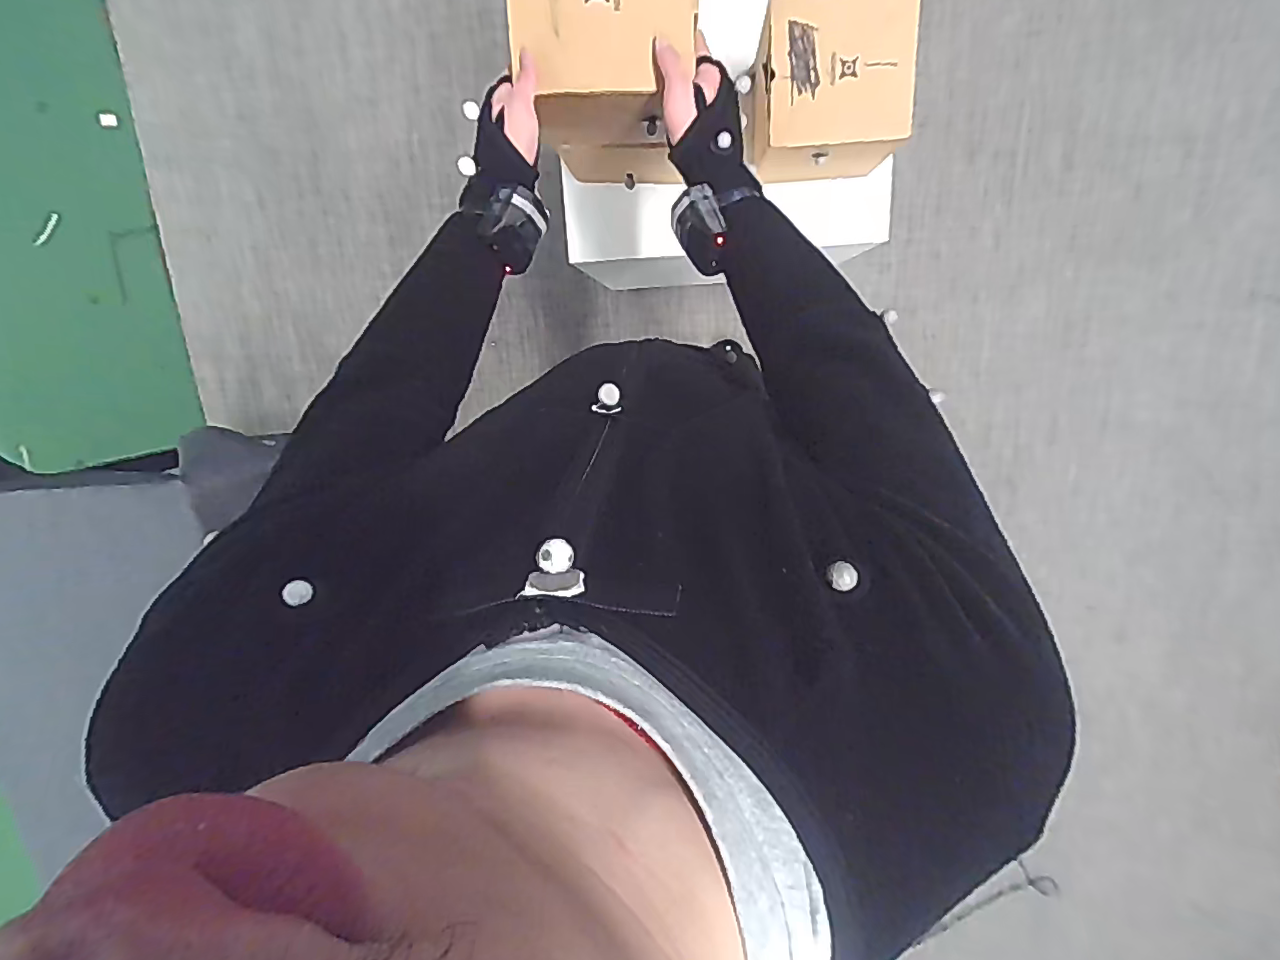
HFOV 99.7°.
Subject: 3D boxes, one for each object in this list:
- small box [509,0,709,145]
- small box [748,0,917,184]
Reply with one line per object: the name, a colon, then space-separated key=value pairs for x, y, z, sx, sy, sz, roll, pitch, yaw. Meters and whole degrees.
small box: x=-0.027 y=-0.455 z=0.542 sx=0.179 sy=0.176 sz=0.168 roll=-2 pitch=106 yaw=2
small box: x=0.243 y=-0.513 z=0.725 sx=0.179 sy=0.176 sz=0.168 roll=-3 pitch=104 yaw=2
